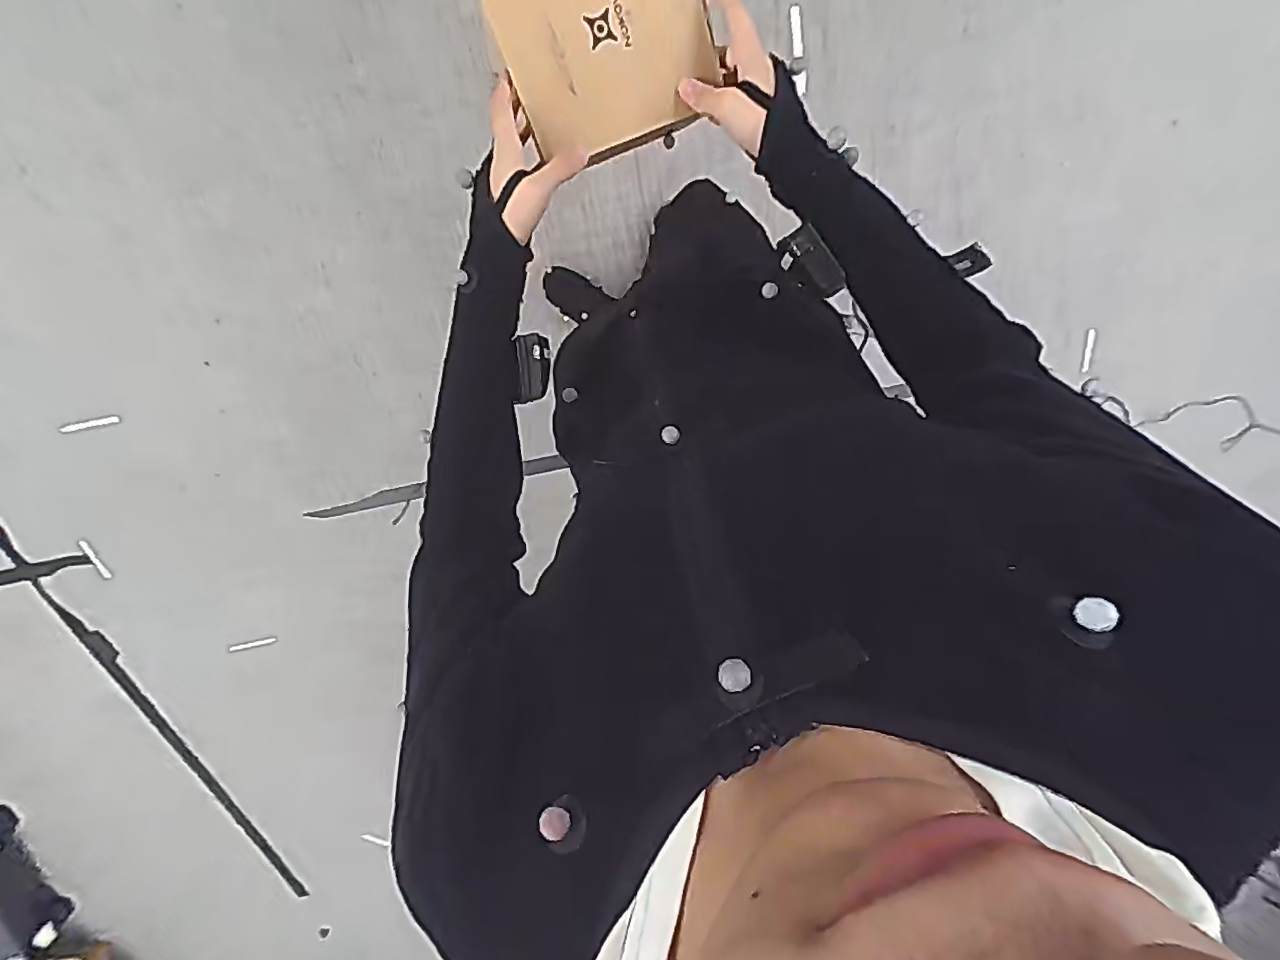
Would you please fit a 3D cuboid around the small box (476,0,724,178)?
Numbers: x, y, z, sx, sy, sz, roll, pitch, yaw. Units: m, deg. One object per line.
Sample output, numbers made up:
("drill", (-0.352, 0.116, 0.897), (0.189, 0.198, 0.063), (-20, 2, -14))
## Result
("small box", (-0.045, -0.407, 0.510), (0.179, 0.176, 0.168), (-22, 117, 0))
